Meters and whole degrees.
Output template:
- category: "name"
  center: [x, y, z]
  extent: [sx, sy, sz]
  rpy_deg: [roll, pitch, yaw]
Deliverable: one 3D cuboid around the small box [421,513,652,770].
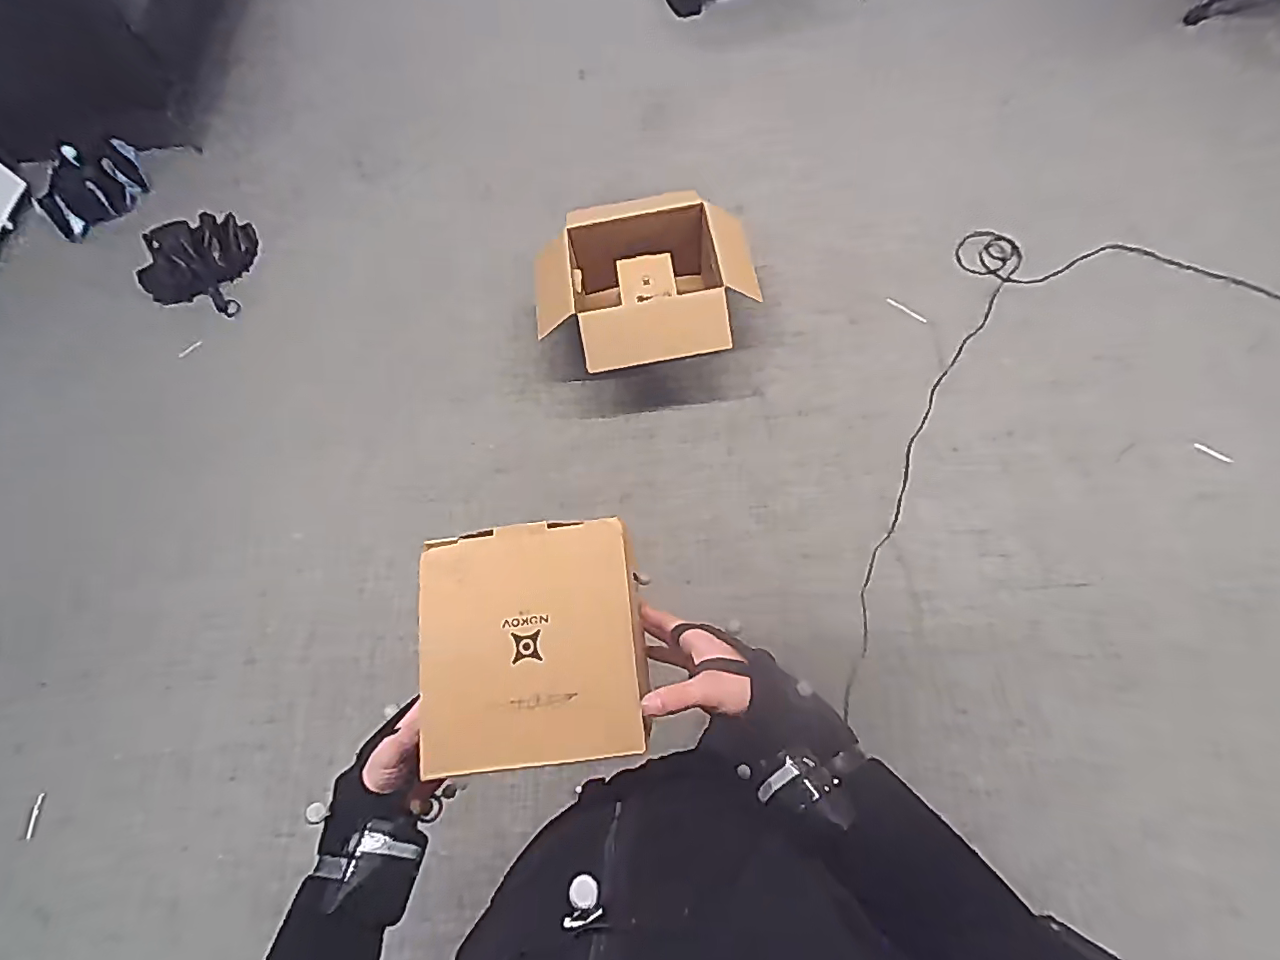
- category: "small box"
  center: [-0.080, 0.138, 0.485]
  extent: [0.168, 0.176, 0.179]
  rpy_deg: [-7, 75, 2]
